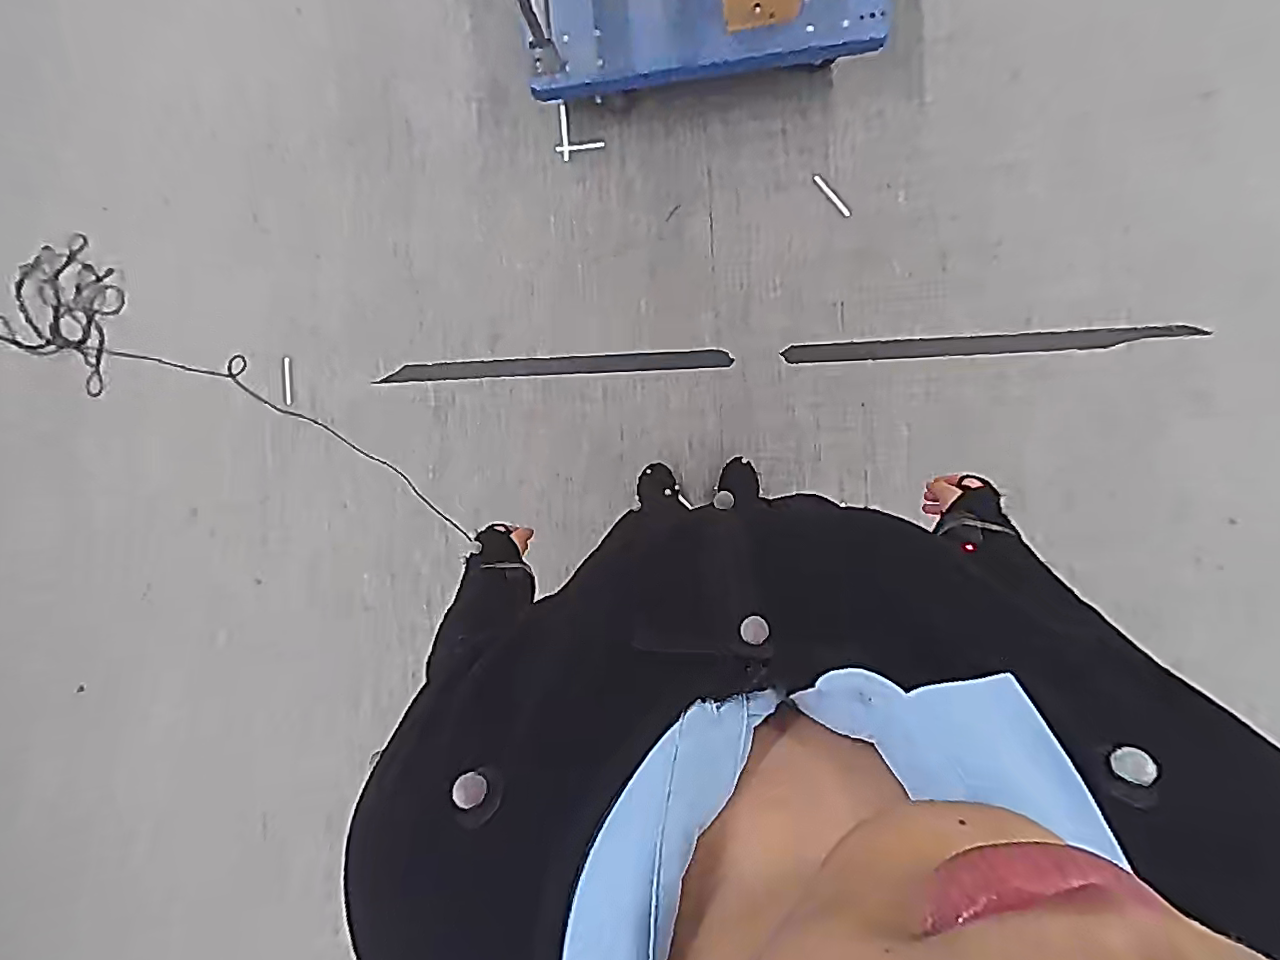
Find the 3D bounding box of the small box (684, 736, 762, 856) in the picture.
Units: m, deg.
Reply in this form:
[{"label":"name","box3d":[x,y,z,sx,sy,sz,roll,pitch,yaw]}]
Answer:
[{"label":"small box","box3d":[0.190,0.732,1.267,0.168,0.176,0.179,2,91,5]}]

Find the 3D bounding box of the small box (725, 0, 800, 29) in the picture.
[{"label":"small box","box3d":[0.270,-1.148,1.183,0.168,0.176,0.179,-4,91,6]}]
